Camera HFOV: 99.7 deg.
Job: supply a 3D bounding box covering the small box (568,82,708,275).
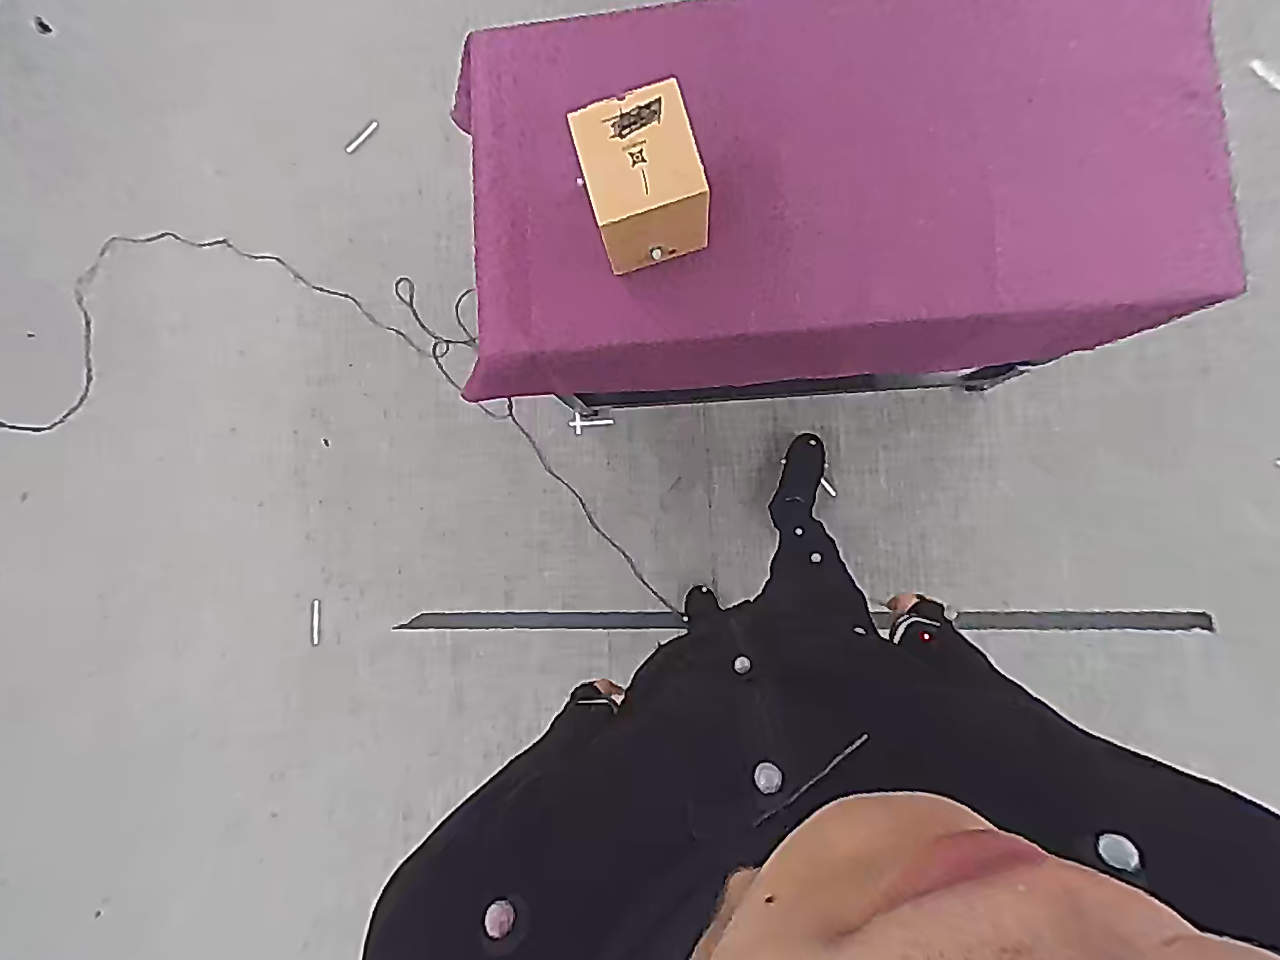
[{"bbox_3d":[0.002,-0.455,0.842,0.168,0.176,0.179,-16,86,5],"label":"small box"}]
